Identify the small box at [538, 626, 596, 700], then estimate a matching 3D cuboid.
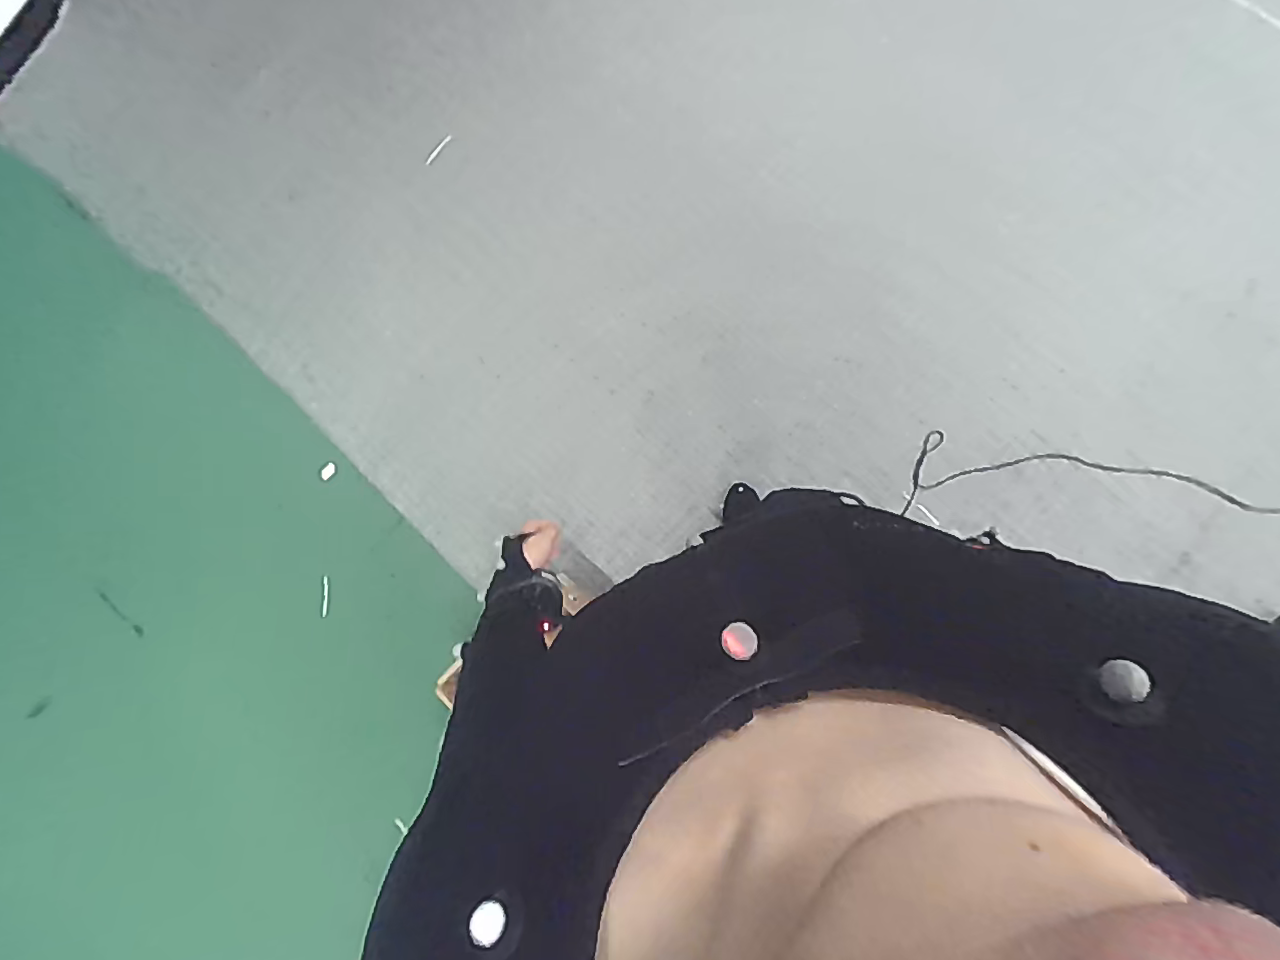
[{"bbox_3d":[-0.228,0.495,1.371,0.179,0.176,0.168,-44,83,1],"label":"small box"}]
